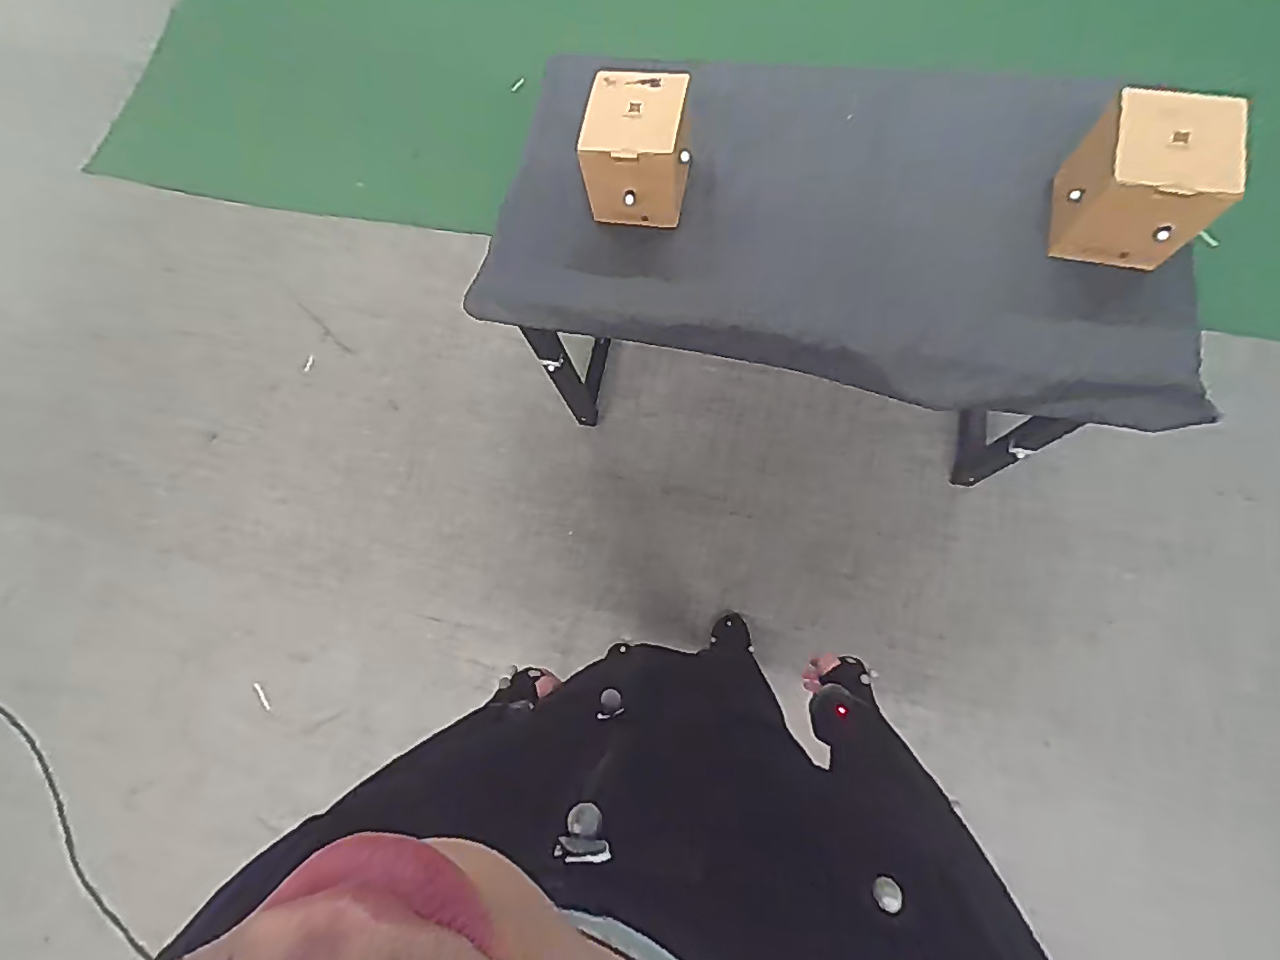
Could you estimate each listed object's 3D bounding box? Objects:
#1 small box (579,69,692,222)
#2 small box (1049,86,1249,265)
[{"bbox_3d":[0.001,-0.600,0.985,0.168,0.176,0.179,9,76,8],"label":"small box"},{"bbox_3d":[0.787,-0.471,0.853,0.168,0.176,0.179,14,76,9],"label":"small box"}]
